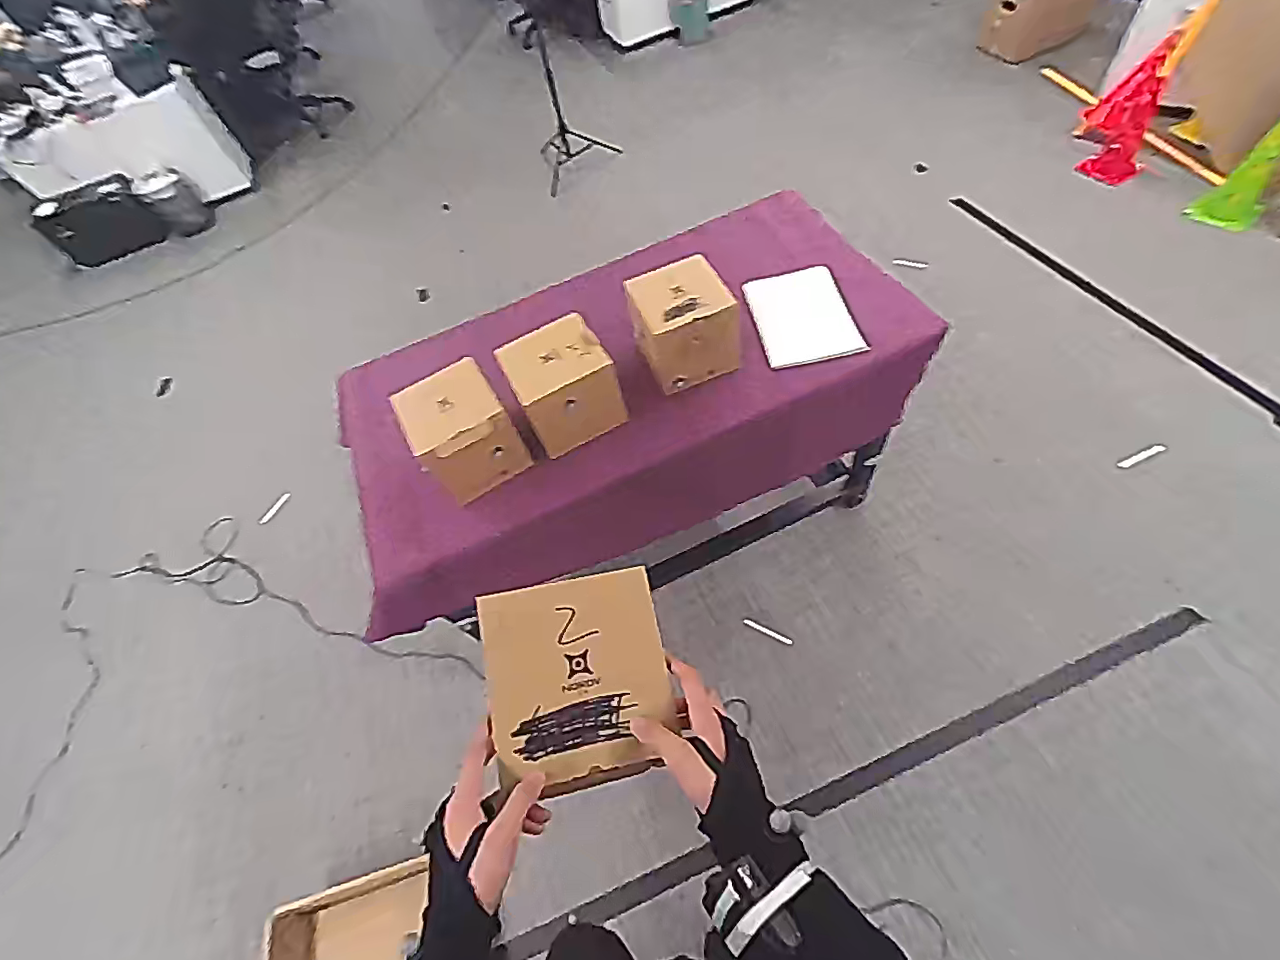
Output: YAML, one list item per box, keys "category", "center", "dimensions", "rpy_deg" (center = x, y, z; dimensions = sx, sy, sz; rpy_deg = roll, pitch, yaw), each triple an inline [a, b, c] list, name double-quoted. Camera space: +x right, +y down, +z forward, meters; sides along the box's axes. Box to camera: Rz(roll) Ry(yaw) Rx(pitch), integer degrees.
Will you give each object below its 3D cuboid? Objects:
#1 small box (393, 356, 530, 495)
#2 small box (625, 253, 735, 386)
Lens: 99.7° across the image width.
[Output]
- category: "small box"
  center: [-0.332, -0.095, 1.029]
  dimensions: [0.168, 0.176, 0.179]
  rpy_deg: [-30, 58, -10]
- category: "small box"
  center: [0.085, -0.311, 1.084]
  dimensions: [0.168, 0.176, 0.179]
  rpy_deg: [-21, 56, -3]
